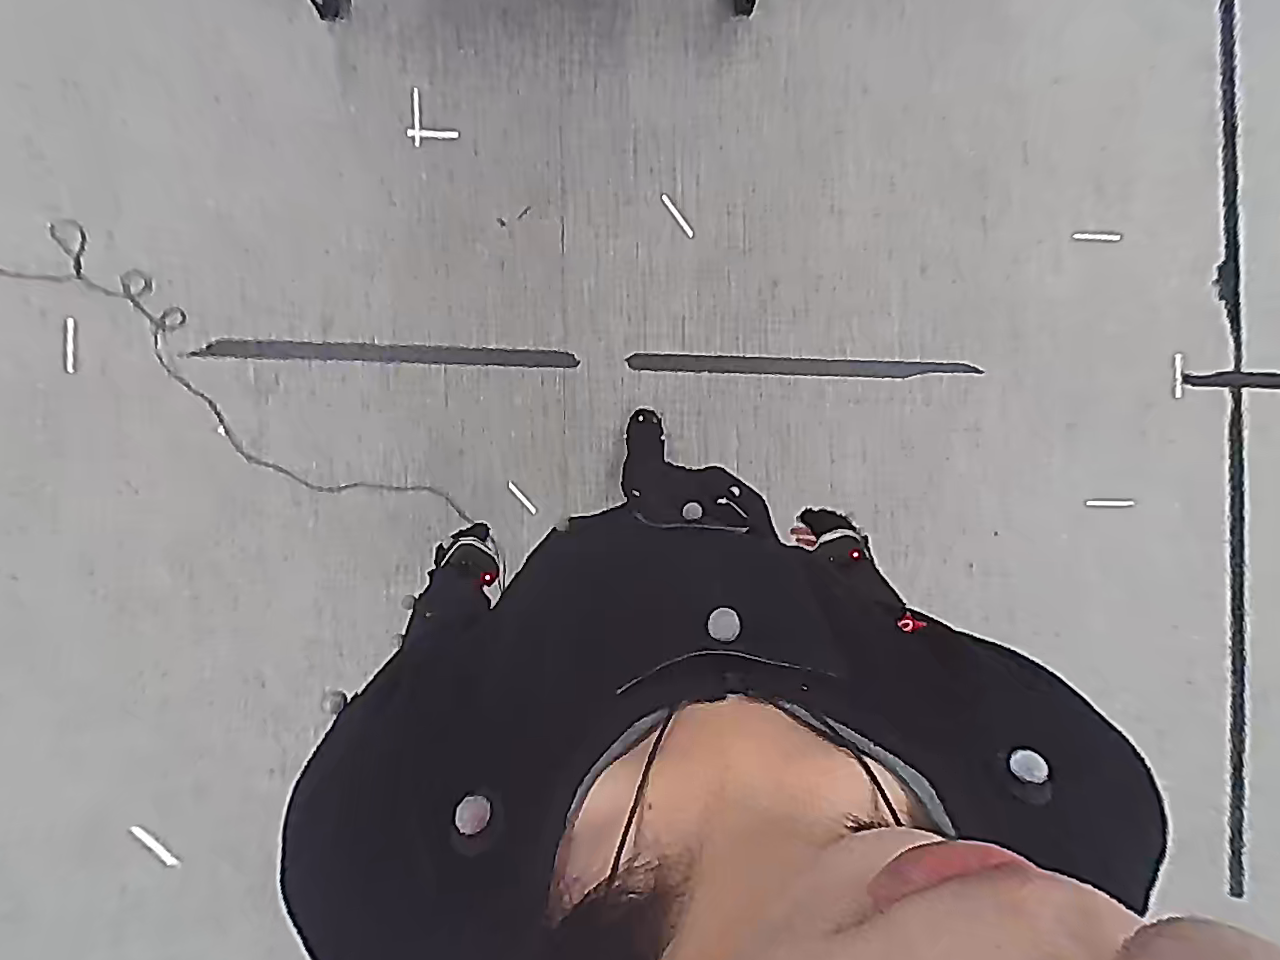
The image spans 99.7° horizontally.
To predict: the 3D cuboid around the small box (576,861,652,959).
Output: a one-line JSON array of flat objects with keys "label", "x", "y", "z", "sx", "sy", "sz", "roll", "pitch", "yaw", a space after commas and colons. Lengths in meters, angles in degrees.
[{"label": "small box", "x": -0.069, "y": 1.152, "z": 1.422, "sx": 0.179, "sy": 0.176, "sz": 0.168, "roll": -8, "pitch": 91, "yaw": -6}]
